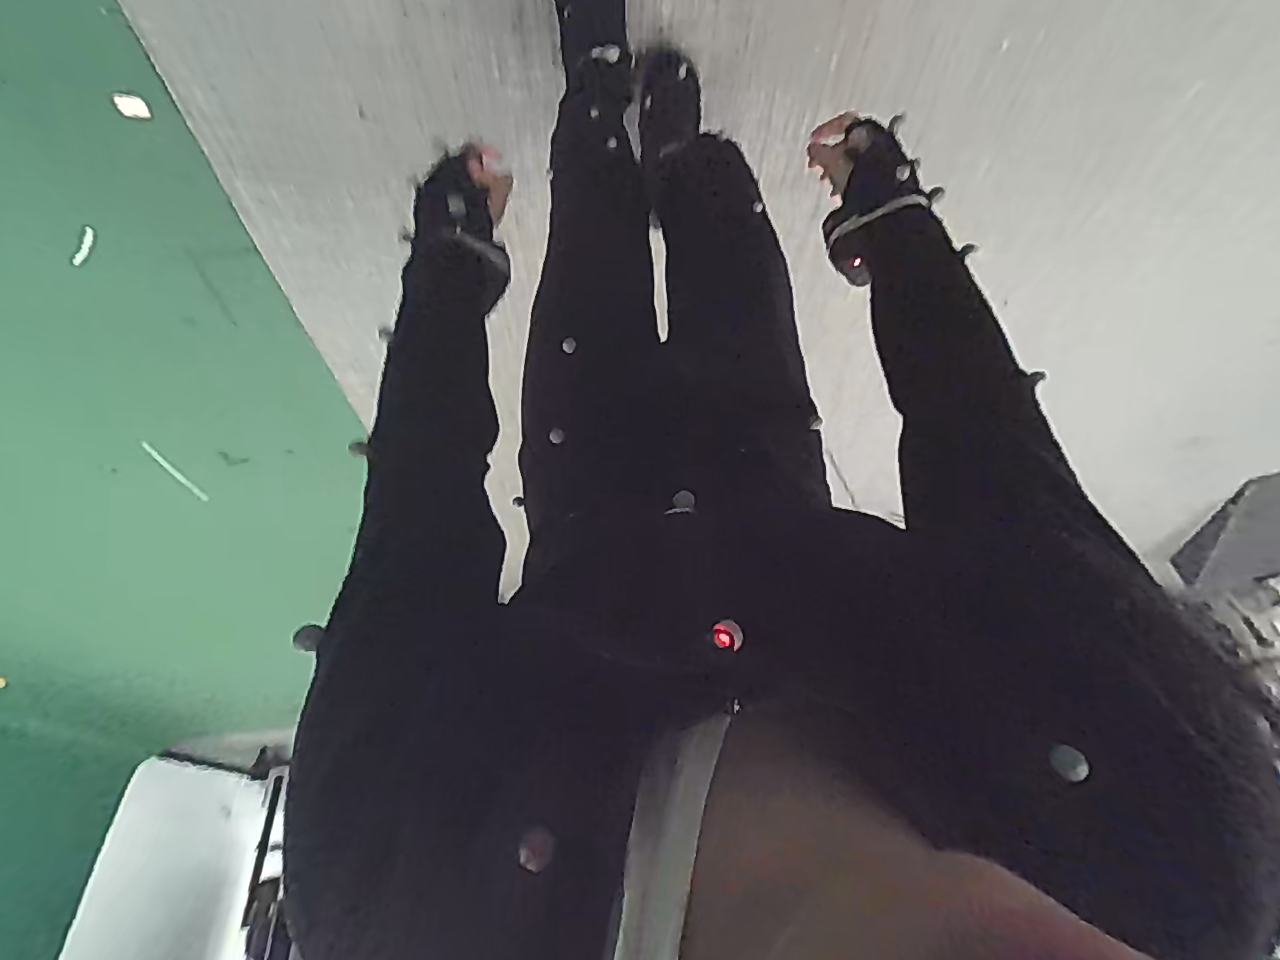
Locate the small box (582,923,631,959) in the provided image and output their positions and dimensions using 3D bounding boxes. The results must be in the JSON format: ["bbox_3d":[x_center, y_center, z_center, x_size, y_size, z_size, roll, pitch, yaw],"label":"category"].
[{"bbox_3d":[-0.131,1.824,2.075,0.168,0.176,0.179,2,142,-12],"label":"small box"}]
